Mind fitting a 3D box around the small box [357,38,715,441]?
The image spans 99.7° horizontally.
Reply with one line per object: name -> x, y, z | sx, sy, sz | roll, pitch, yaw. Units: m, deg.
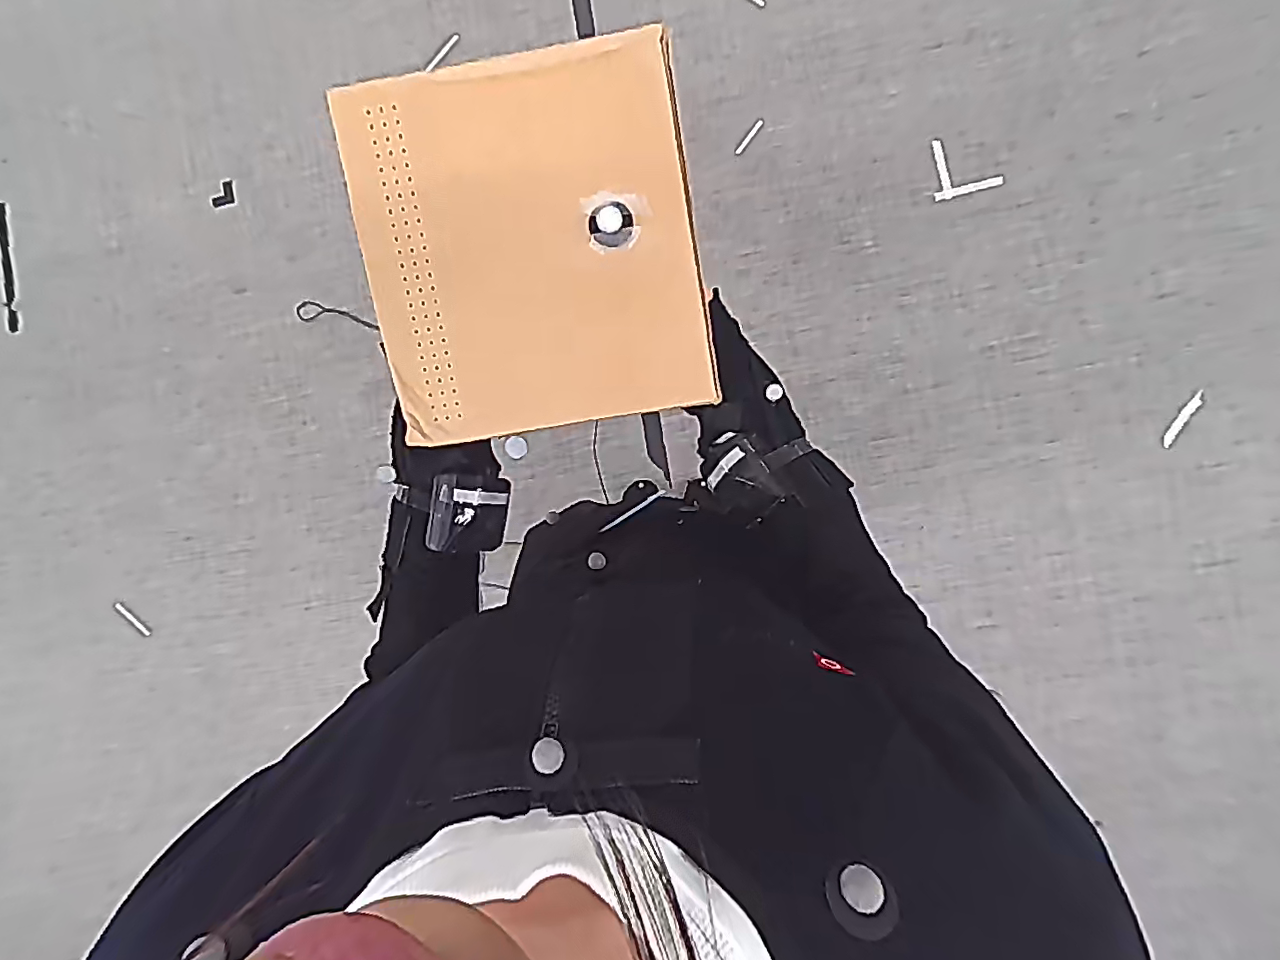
small box -> -0.054, -0.130, 0.355 | 0.176, 0.168, 0.179 | -9, 98, 4
